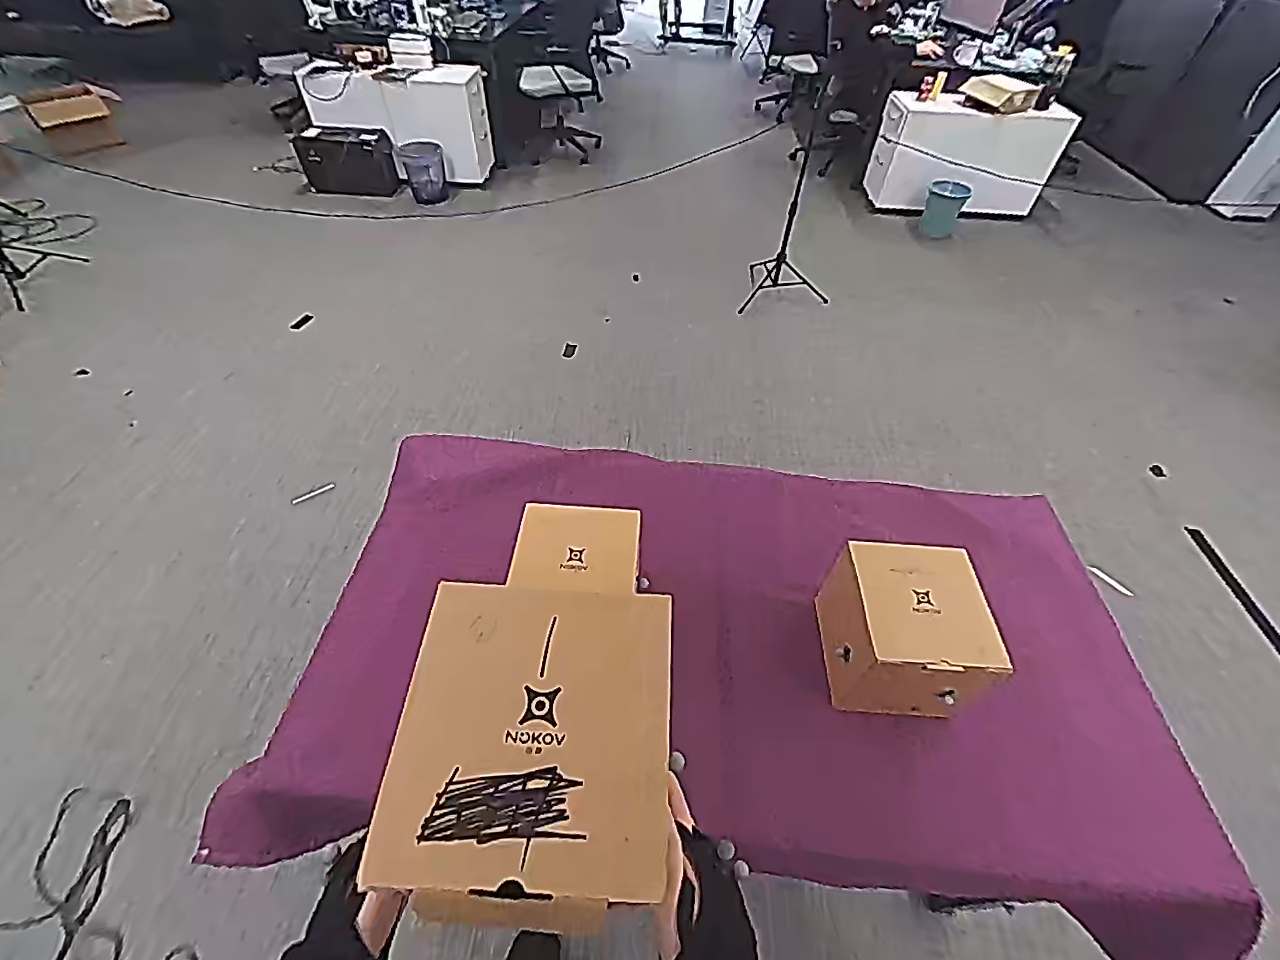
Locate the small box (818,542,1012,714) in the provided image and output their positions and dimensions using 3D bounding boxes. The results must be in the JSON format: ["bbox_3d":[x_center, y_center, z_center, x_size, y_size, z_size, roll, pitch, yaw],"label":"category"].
[{"bbox_3d":[0.361,0.209,0.750,0.168,0.176,0.179,5,49,1],"label":"small box"}]

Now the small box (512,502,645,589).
[{"bbox_3d":[-0.085,0.155,0.776,0.168,0.176,0.179,4,50,0],"label":"small box"}]

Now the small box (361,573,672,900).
[{"bbox_3d":[-0.067,0.188,0.401,0.168,0.176,0.179,5,55,0],"label":"small box"}]
